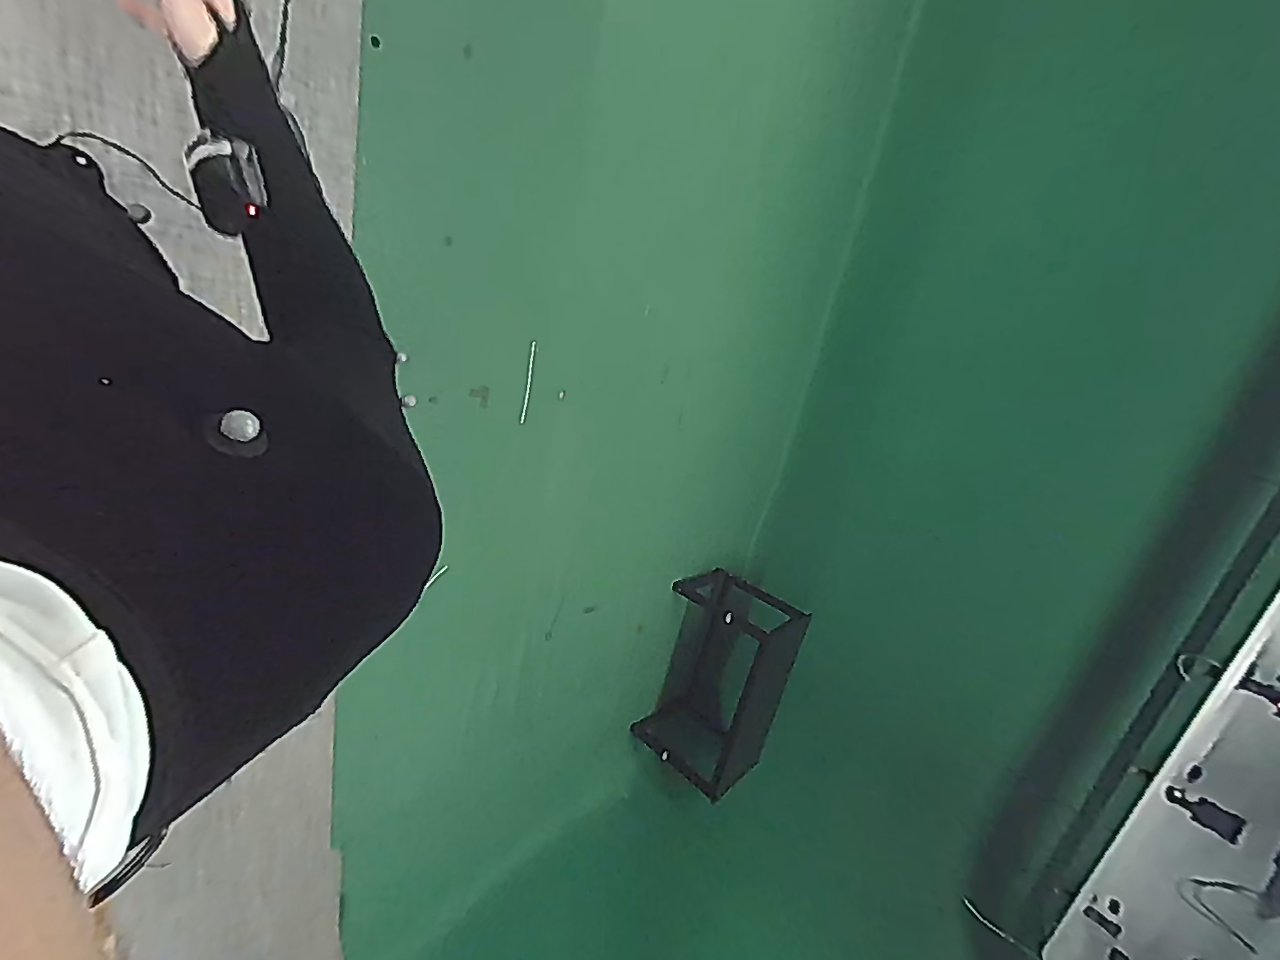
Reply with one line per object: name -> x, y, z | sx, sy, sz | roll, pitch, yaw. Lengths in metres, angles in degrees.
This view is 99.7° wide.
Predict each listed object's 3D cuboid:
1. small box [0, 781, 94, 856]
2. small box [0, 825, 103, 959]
small box -> -1.492, 0.895, 1.336 | 0.179, 0.176, 0.168 | 3, 109, -52
small box -> -1.370, 0.947, 1.236 | 0.179, 0.176, 0.168 | 2, 110, -53
